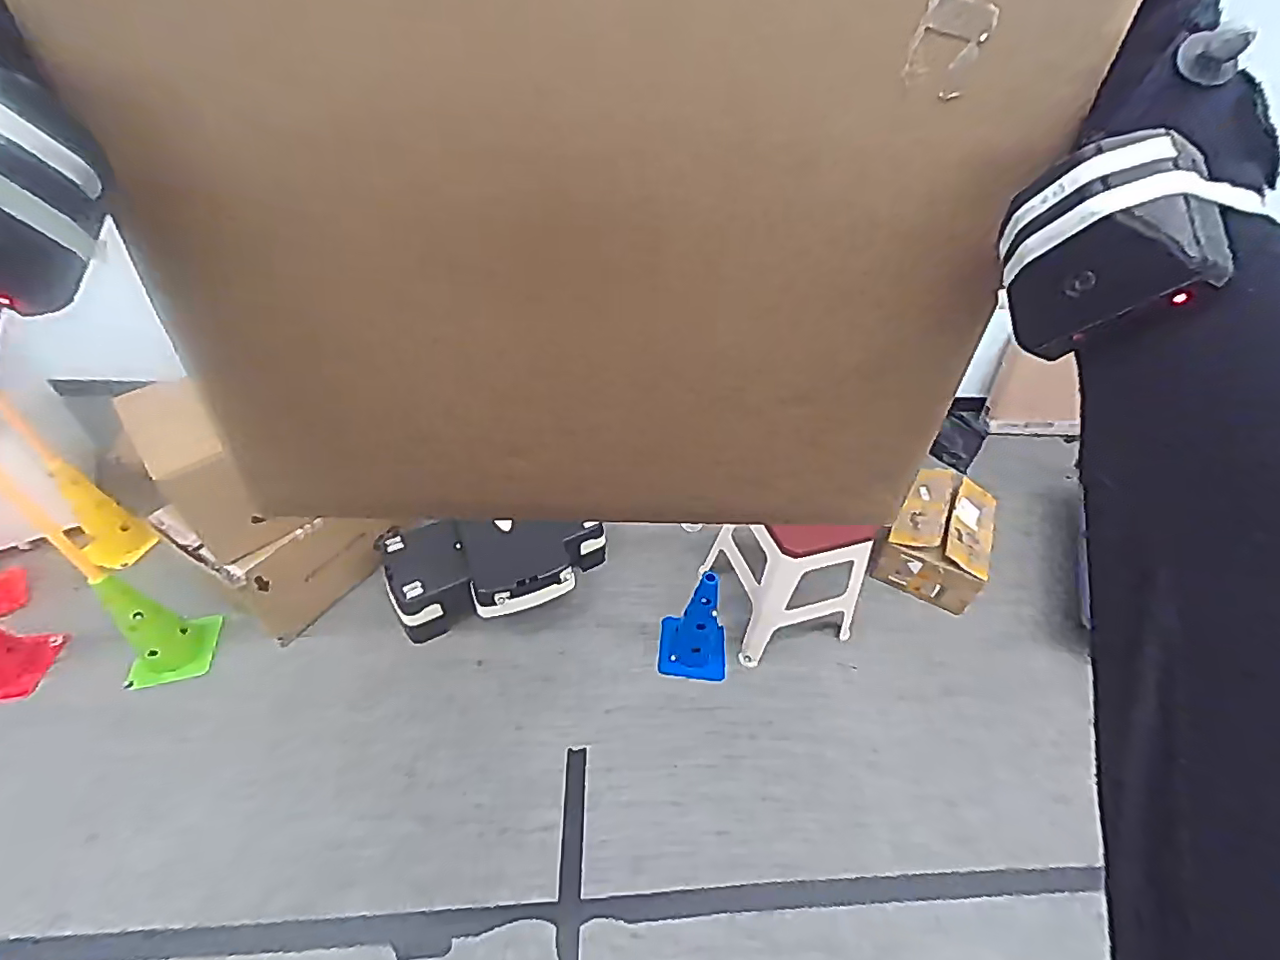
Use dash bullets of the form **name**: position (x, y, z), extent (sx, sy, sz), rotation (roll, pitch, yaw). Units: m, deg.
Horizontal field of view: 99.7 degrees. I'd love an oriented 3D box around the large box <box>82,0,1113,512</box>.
- **large box**: position (-0.026, -0.188, 0.383), extent (0.408, 0.320, 0.320), rotation (2, 37, -6)
